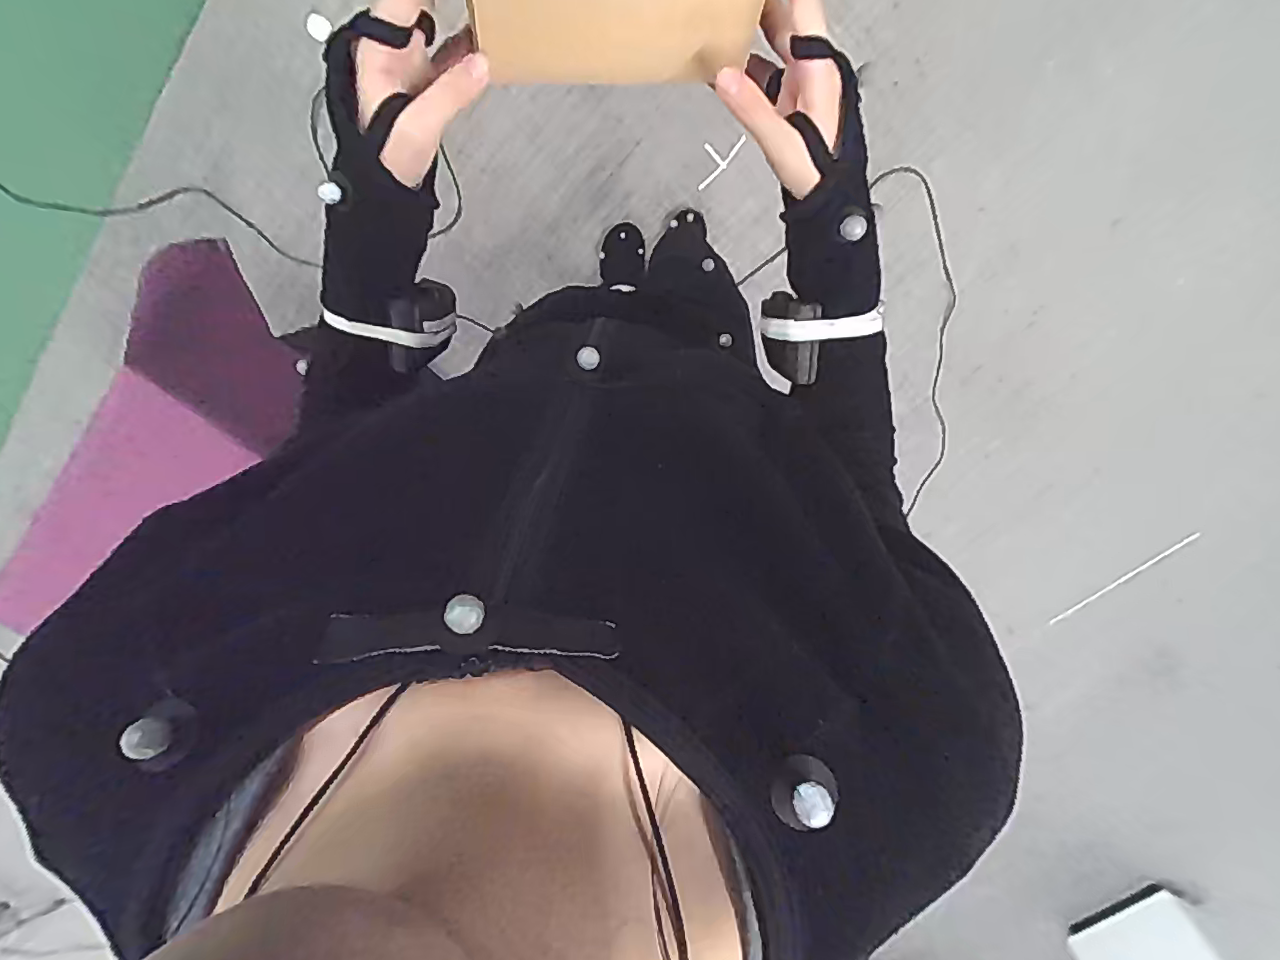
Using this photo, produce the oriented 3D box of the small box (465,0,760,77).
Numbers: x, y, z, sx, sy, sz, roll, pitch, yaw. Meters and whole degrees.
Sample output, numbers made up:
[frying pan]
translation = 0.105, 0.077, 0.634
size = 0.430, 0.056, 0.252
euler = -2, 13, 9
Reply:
[small box]
translation = -0.019, -0.354, 0.279
size = 0.168, 0.176, 0.179
euler = -8, 160, -10
